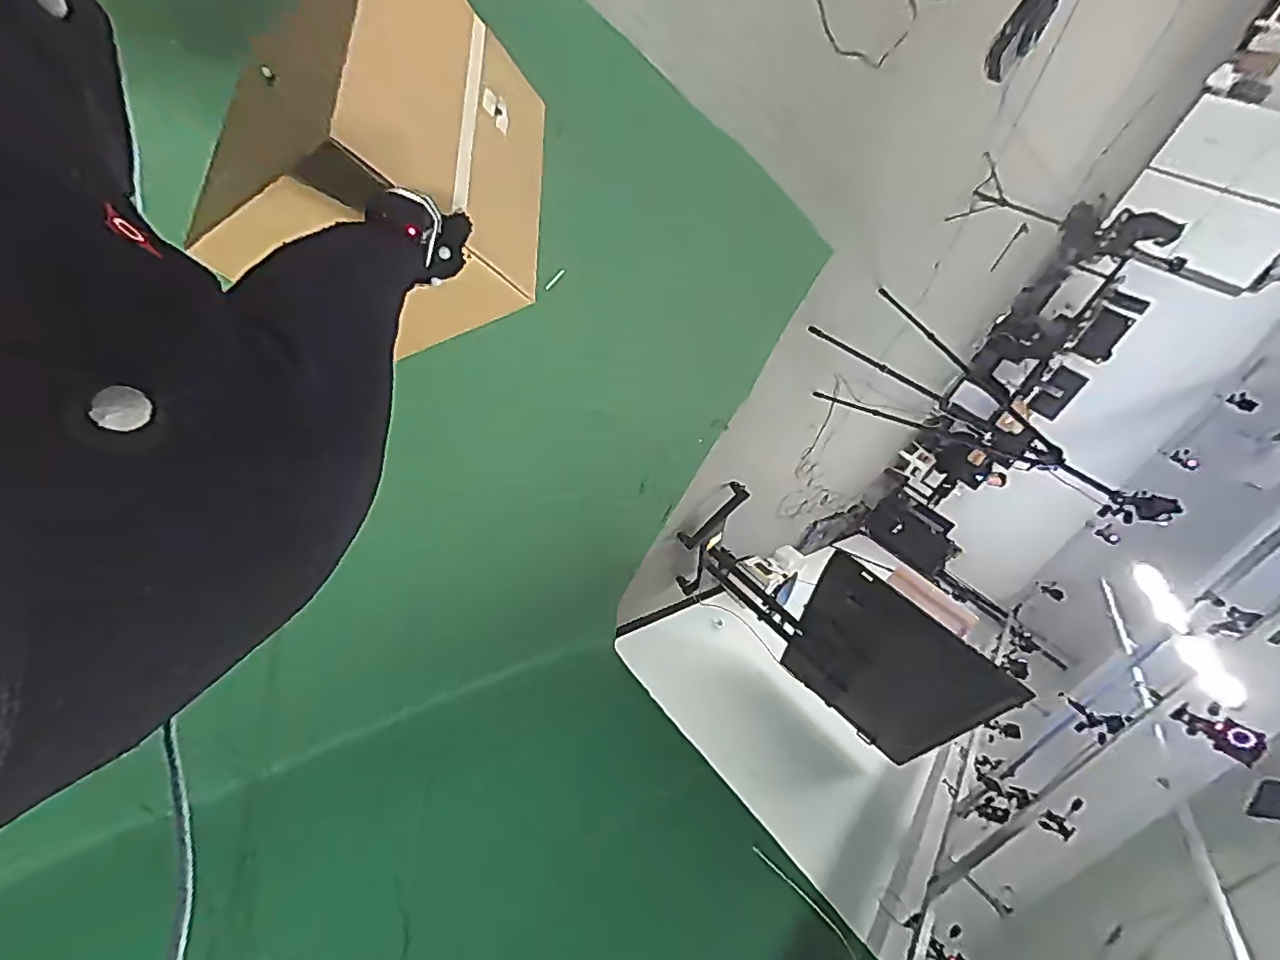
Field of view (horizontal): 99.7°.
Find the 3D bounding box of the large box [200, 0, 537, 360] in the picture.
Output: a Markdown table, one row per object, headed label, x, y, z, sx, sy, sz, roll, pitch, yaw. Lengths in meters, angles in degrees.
| label | x | y | z | sx | sy | sz | roll | pitch | yaw |
| --- | --- | --- | --- | --- | --- | --- | --- | --- | --- |
| large box | -0.373 | -0.454 | 0.807 | 0.320 | 0.408 | 0.320 | -12 | 159 | 27 |
